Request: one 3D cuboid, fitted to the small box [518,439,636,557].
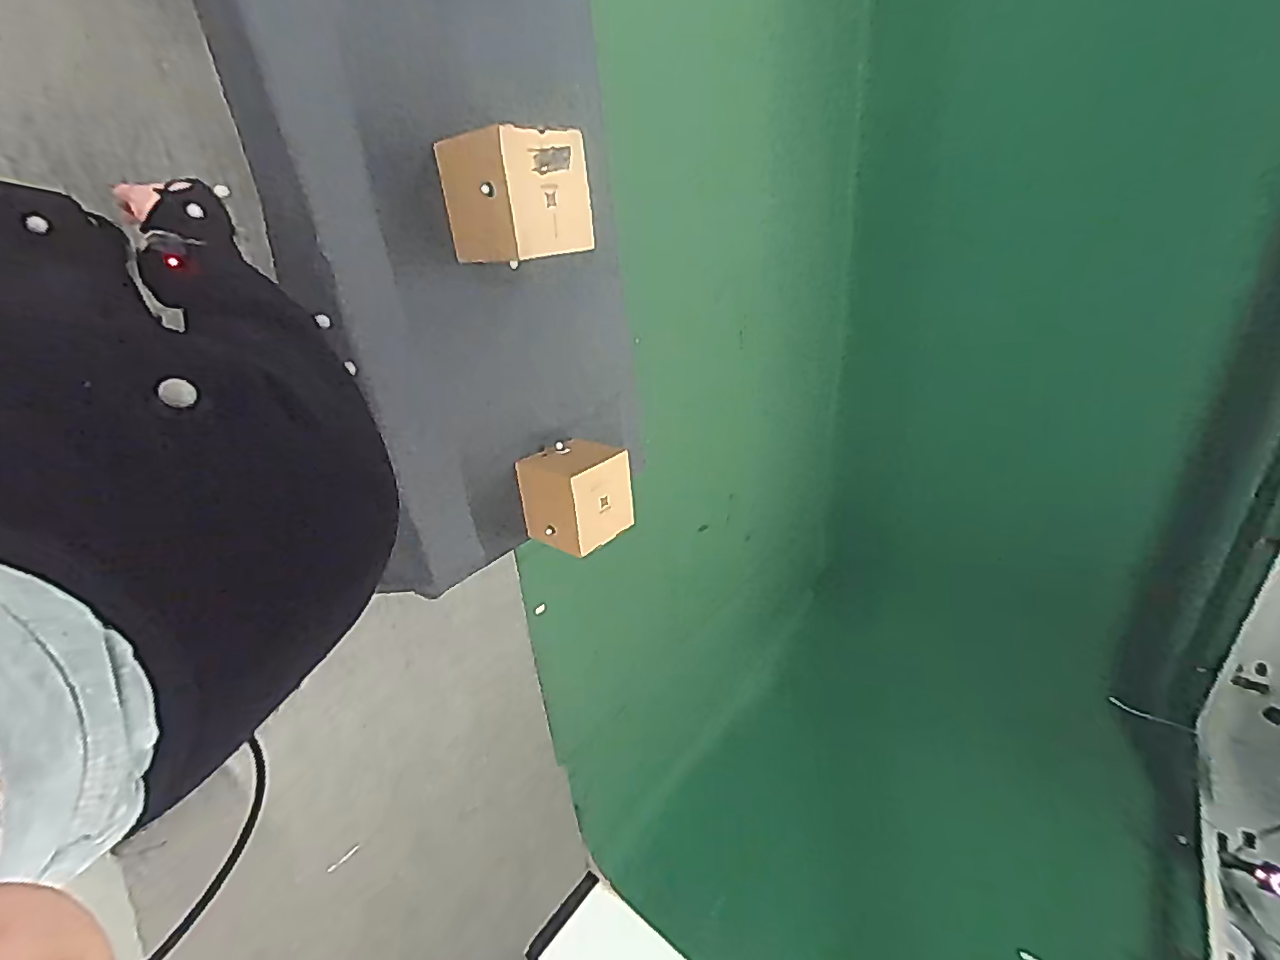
[{"bbox_3d":[-0.129,0.030,1.128,0.168,0.176,0.179,-31,124,-43],"label":"small box"}]

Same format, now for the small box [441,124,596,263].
[{"bbox_3d":[-0.195,-0.454,0.872,0.168,0.176,0.179,-31,126,-41],"label":"small box"}]
